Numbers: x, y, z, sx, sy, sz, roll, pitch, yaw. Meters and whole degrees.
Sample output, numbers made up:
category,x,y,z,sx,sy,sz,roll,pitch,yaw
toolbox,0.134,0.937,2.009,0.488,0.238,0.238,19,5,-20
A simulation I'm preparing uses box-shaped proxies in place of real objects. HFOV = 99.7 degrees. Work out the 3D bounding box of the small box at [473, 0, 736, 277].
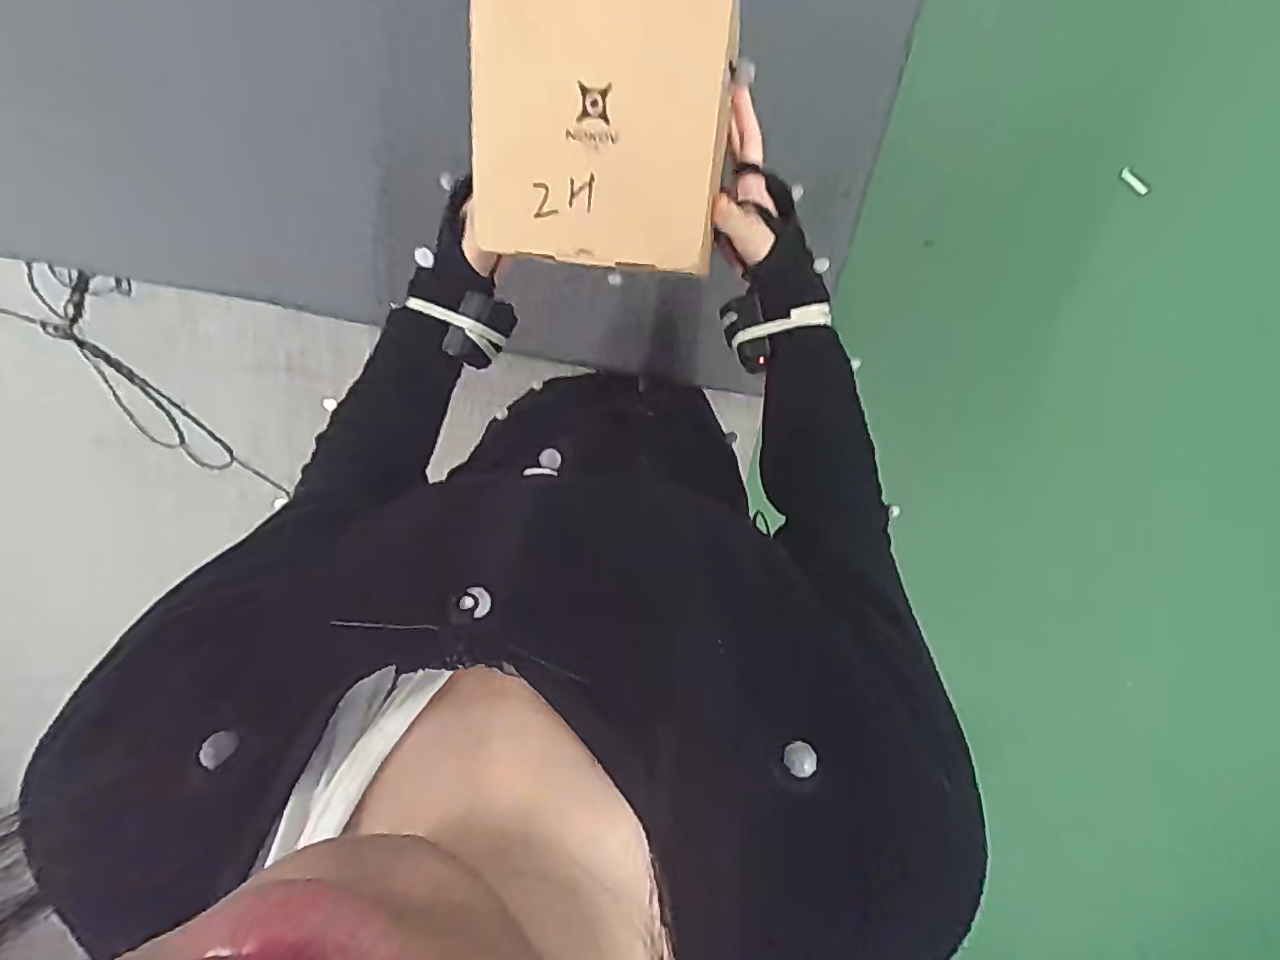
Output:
category,x,y,z,sx,sy,sz,roll,pitch,yaw
small box,-0.018,-0.261,0.428,0.168,0.176,0.179,8,112,8
